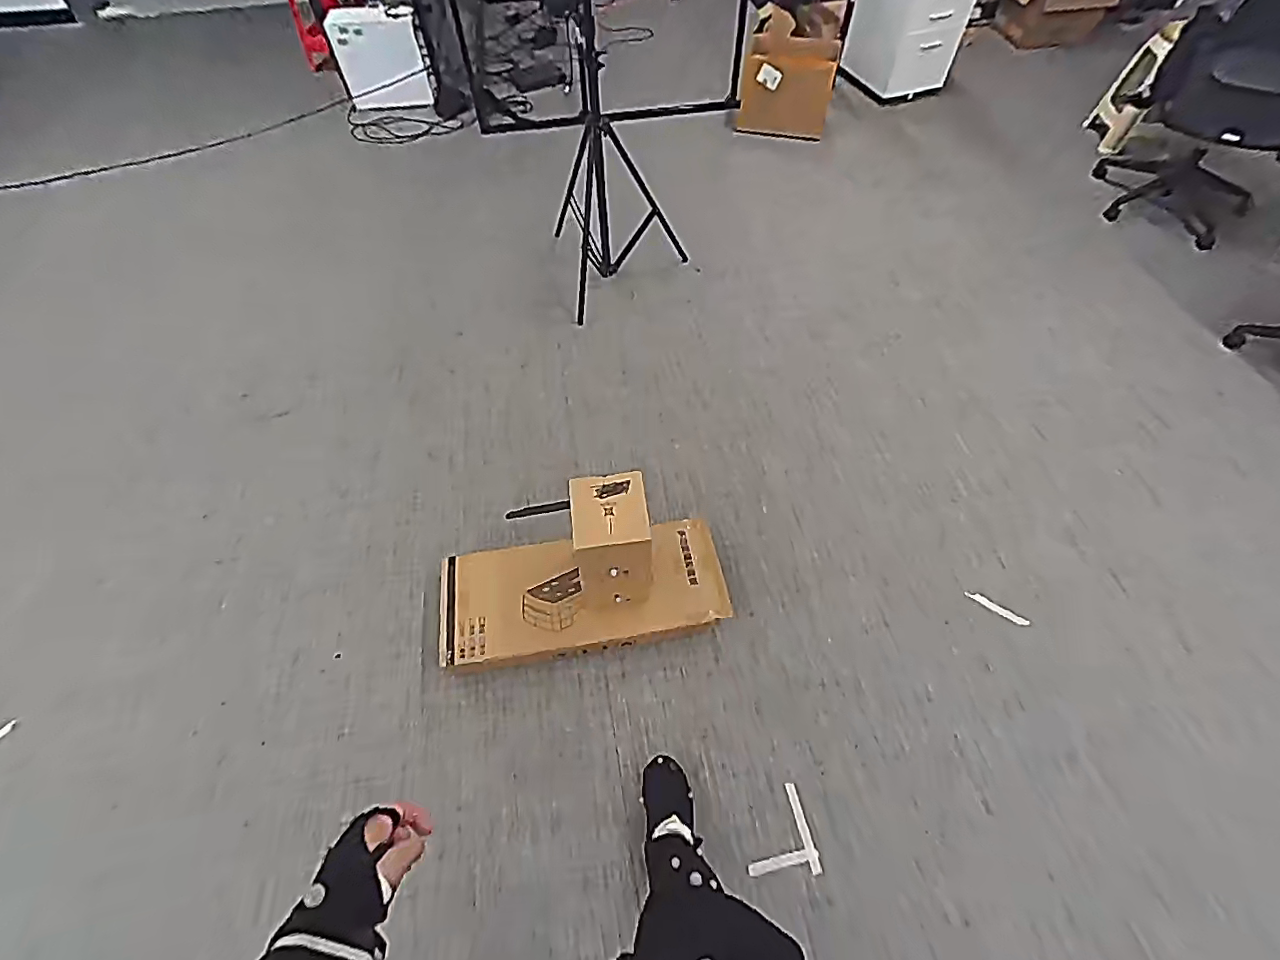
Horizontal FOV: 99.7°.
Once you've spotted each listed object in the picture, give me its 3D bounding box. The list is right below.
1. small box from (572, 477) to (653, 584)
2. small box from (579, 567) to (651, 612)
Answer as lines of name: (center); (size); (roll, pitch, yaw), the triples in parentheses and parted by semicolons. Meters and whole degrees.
small box: (-0.064, 0.118, 1.235); (0.168, 0.176, 0.179); (-7, 56, -3)
small box: (-0.069, 0.212, 1.370); (0.168, 0.176, 0.179); (-10, 56, -5)
